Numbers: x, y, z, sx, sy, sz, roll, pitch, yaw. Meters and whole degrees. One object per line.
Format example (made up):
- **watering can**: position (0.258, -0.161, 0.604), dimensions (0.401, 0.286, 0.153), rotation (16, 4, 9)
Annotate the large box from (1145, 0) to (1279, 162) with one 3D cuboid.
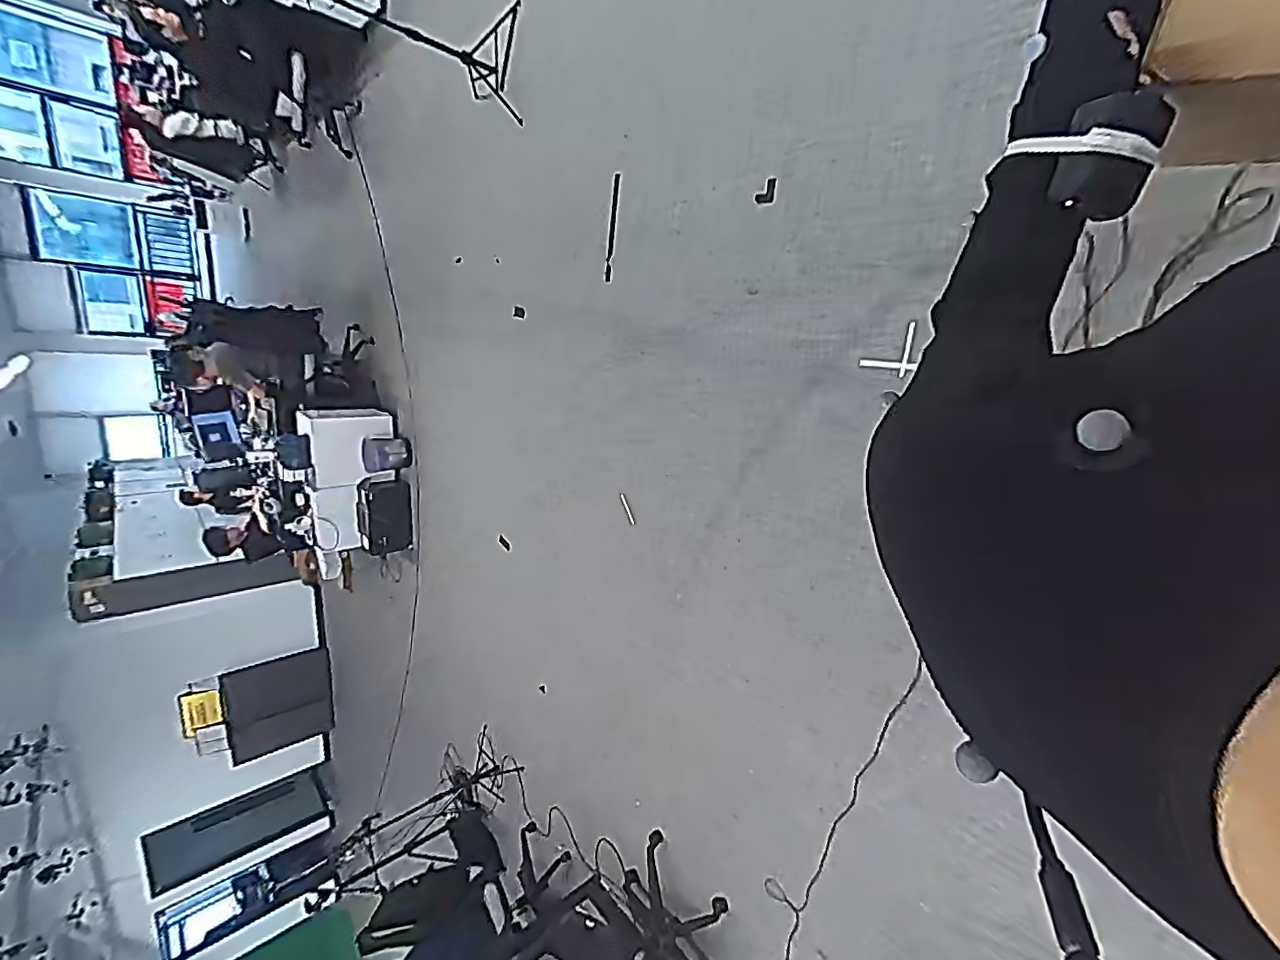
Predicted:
- **large box**: position (0.592, -0.388, 0.292), dimensions (0.408, 0.320, 0.320), rotation (22, 119, 39)
